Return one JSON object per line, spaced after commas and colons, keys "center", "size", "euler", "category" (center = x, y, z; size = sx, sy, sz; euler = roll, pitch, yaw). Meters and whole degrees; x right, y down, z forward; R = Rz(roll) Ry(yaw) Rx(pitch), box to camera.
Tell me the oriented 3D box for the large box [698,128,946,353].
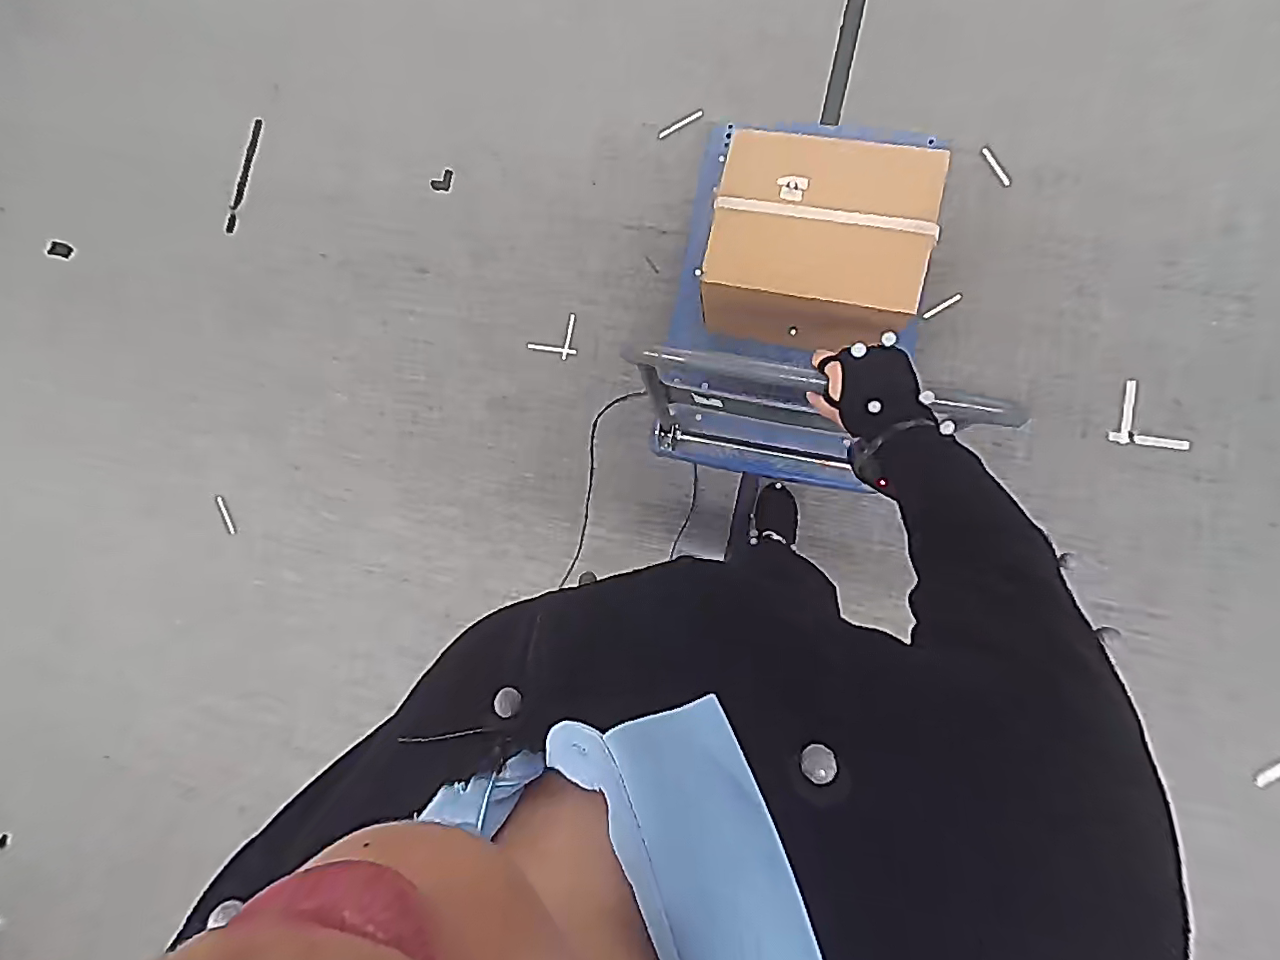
{"center": [0.361, -0.487, 1.152], "size": [0.408, 0.320, 0.320], "euler": [12, 87, 11], "category": "large box"}
